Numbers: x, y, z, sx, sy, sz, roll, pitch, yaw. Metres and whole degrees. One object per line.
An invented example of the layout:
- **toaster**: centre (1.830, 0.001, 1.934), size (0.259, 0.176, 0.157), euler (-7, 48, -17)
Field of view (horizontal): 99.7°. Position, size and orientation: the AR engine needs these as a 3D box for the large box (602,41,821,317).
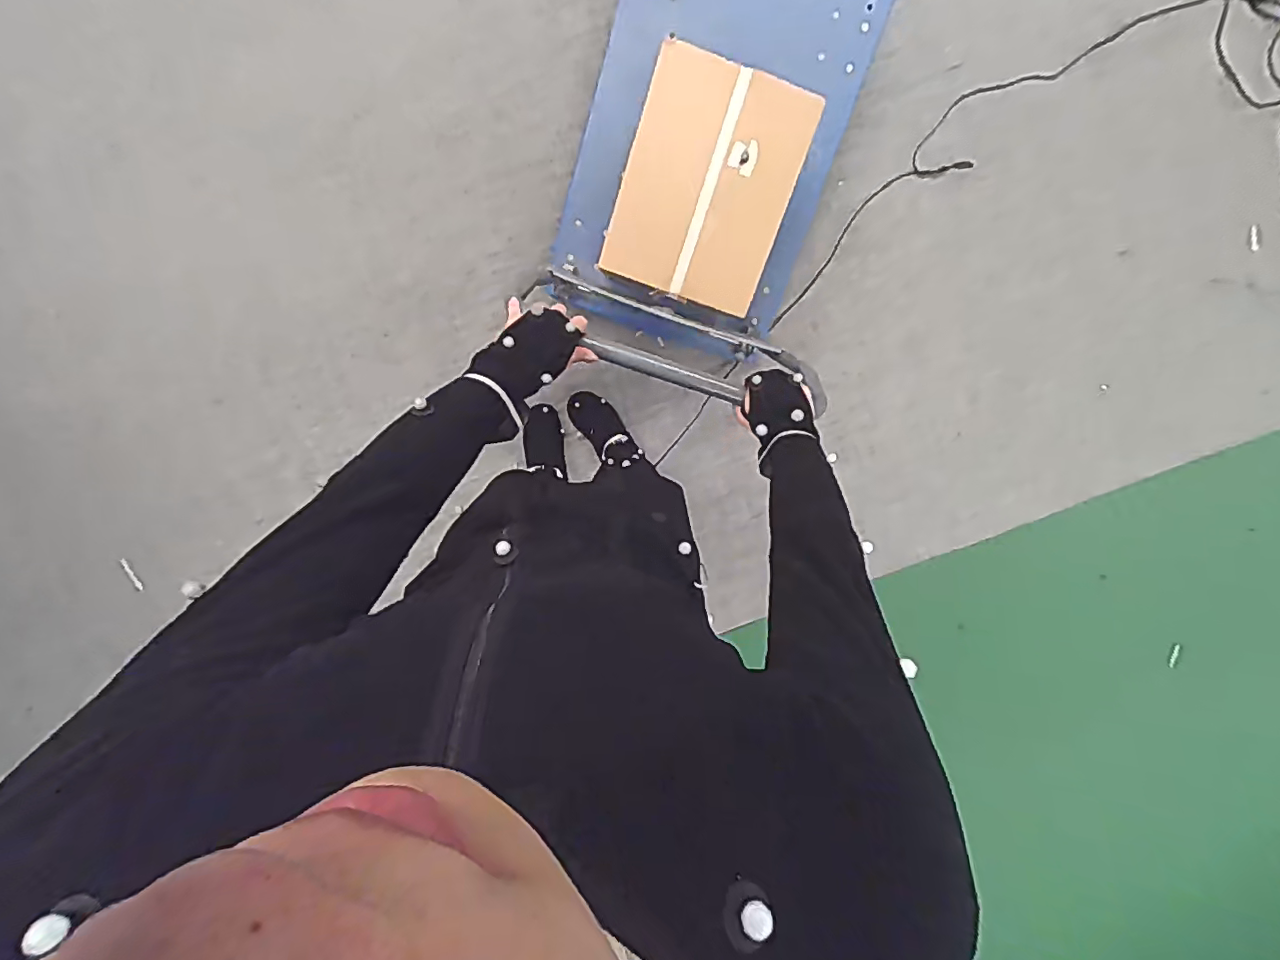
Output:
- **large box**: centre (0.126, -0.591, 1.159), size (0.320, 0.320, 0.408), euler (17, 106, -6)
